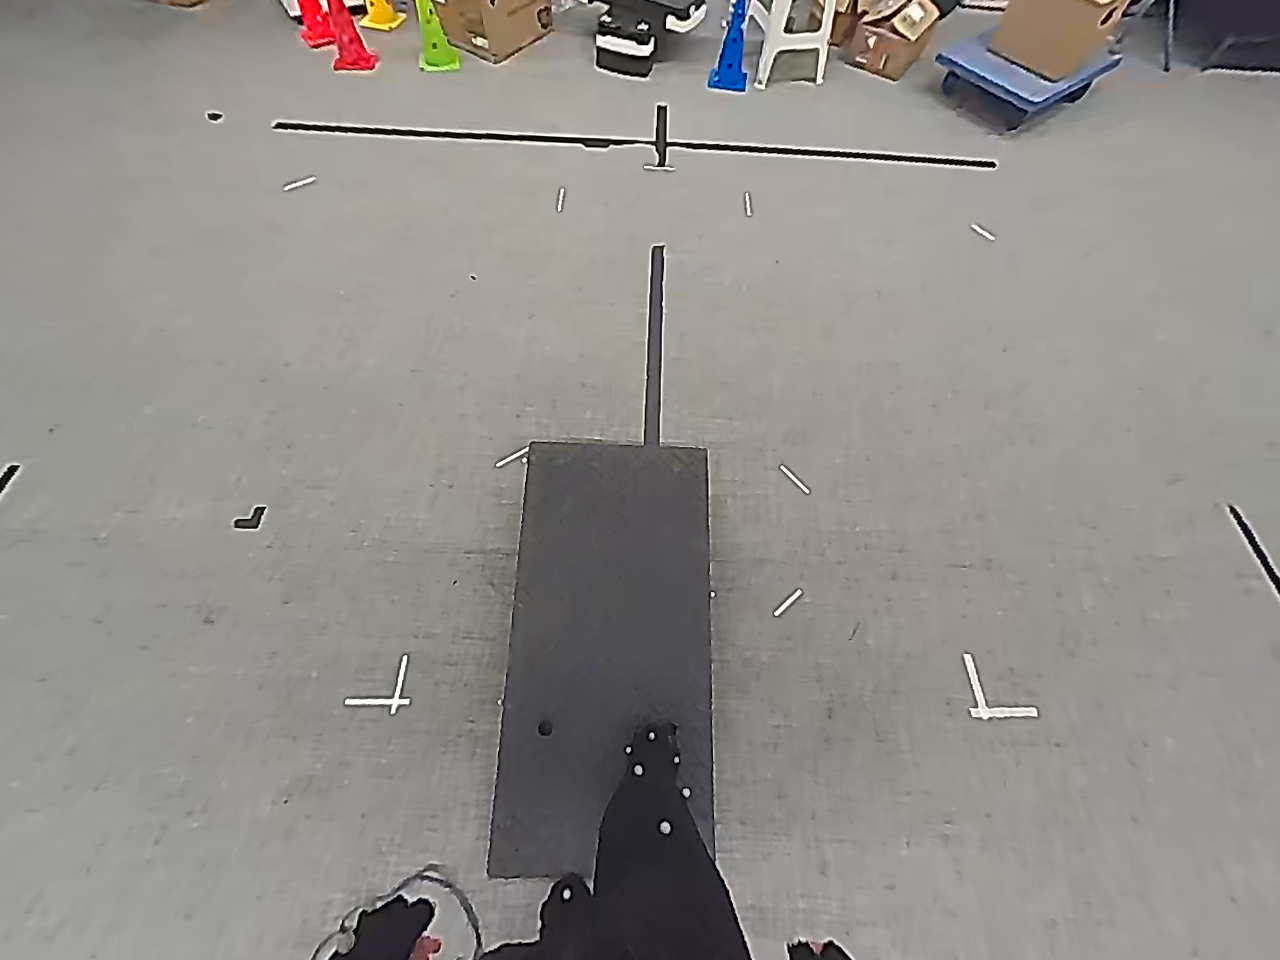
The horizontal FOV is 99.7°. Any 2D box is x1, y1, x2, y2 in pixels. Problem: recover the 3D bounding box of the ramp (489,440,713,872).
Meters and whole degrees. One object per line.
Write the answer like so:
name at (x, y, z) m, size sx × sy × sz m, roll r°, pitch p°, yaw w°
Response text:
ramp at (-0.069, 0.372, 1.328) m, size 0.509 × 0.206 × 0.991 m, roll 1°, pitch 61°, yaw -4°
